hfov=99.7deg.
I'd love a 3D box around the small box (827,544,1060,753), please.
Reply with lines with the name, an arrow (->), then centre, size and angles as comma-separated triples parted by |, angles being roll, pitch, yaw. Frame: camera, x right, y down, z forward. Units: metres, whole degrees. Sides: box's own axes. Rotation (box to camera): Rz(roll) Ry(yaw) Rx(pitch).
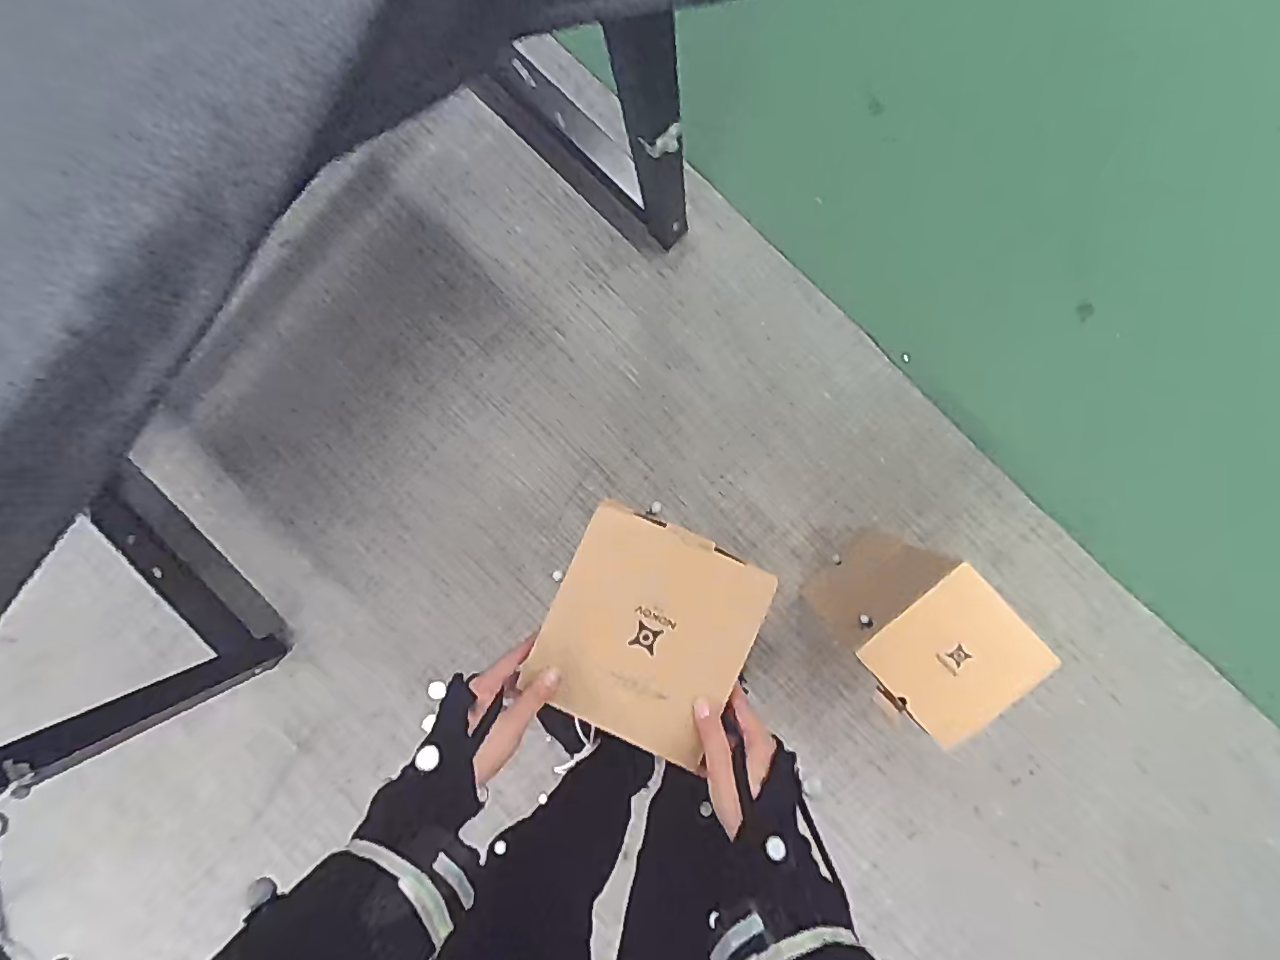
small box -> 0.379, 0.206, 0.716 | 0.179, 0.176, 0.168 | -42, 88, 6

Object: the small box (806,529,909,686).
small box -> 0.392, 0.201, 0.880 | 0.179, 0.176, 0.168 | -44, 87, 7
